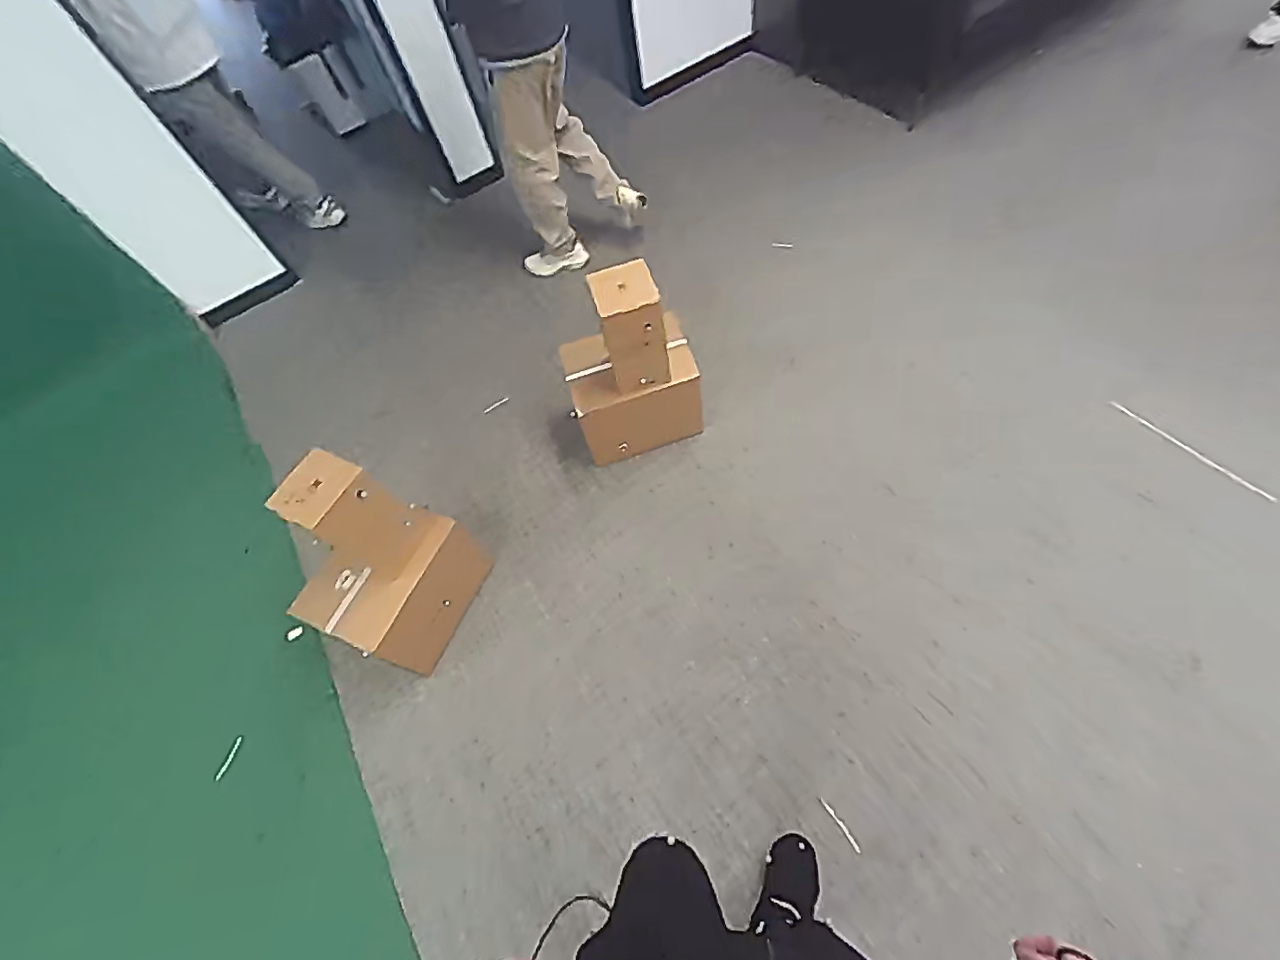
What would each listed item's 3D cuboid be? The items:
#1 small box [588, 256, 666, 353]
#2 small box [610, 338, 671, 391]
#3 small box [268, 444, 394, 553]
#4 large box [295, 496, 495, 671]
[{"bbox_3d":[-0.032,-0.473,1.489,0.168,0.176,0.179,-17,60,-1],"label":"small box"},{"bbox_3d":[-0.008,-0.401,1.633,0.168,0.176,0.179,-16,61,1],"label":"small box"},{"bbox_3d":[-0.729,0.047,1.304,0.168,0.176,0.179,21,66,21],"label":"small box"},{"bbox_3d":[-0.708,0.304,1.632,0.320,0.320,0.408,16,65,20],"label":"large box"}]
